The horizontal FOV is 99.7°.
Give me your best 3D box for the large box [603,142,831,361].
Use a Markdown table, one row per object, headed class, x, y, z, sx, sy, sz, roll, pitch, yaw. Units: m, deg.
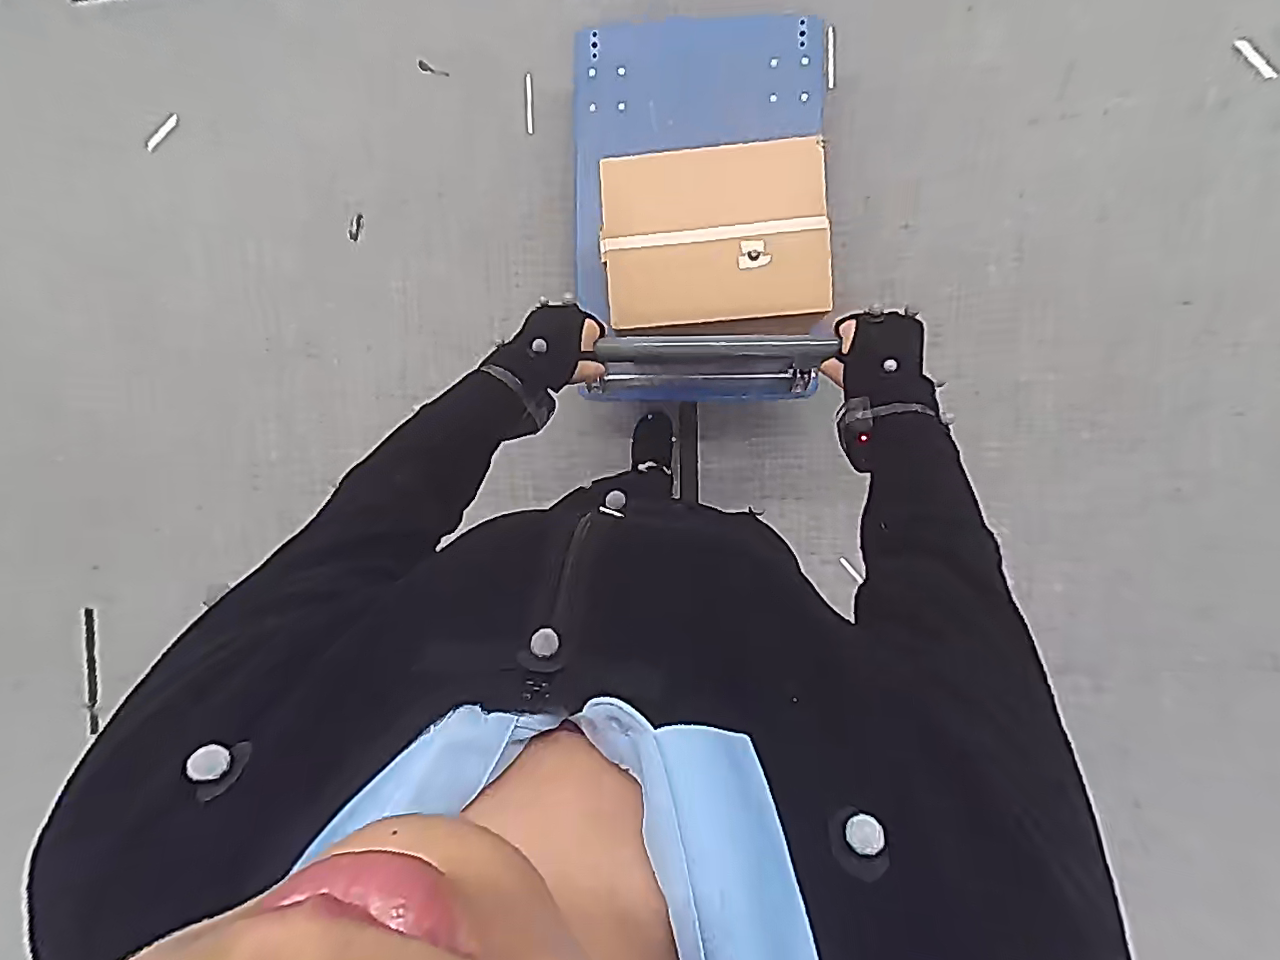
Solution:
| class | x | y | z | sx | sy | sz | roll | pitch | yaw |
| --- | --- | --- | --- | --- | --- | --- | --- | --- | --- |
| large box | 0.147 | -0.448 | 1.141 | 0.408 | 0.320 | 0.320 | -4 | 93 | 3 |
